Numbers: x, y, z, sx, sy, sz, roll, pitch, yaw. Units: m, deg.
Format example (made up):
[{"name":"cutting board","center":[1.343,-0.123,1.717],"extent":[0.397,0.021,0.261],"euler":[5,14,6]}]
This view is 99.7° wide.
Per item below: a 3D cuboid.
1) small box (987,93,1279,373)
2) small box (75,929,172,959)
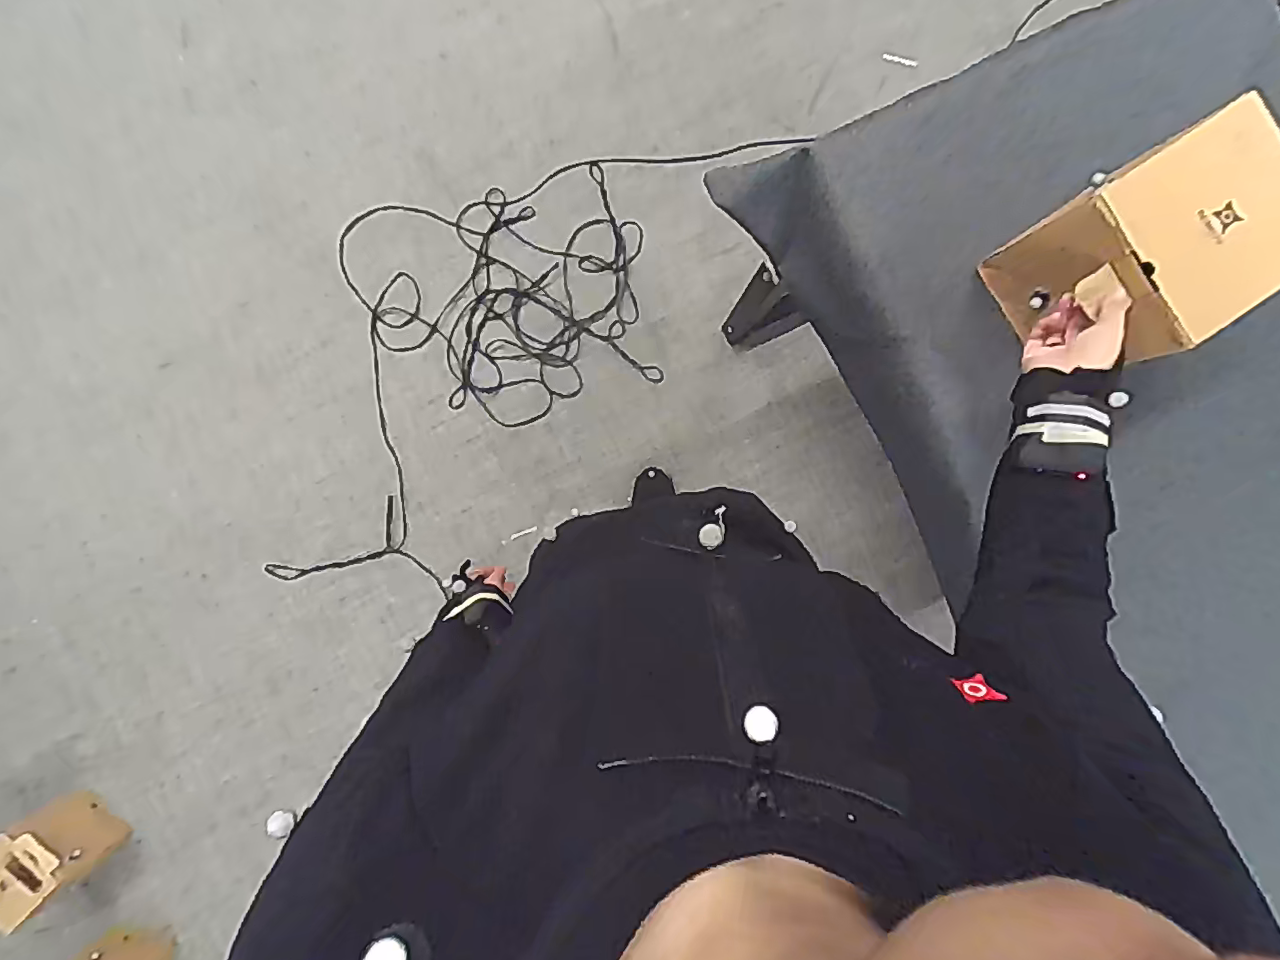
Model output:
[{"name":"small box","center":[0.518,-0.234,0.561],"extent":[0.179,0.176,0.168],"euler":[-34,92,-1]},{"name":"small box","center":[-1.238,1.194,1.248],"extent":[0.168,0.176,0.179],"euler":[11,91,-1]}]
